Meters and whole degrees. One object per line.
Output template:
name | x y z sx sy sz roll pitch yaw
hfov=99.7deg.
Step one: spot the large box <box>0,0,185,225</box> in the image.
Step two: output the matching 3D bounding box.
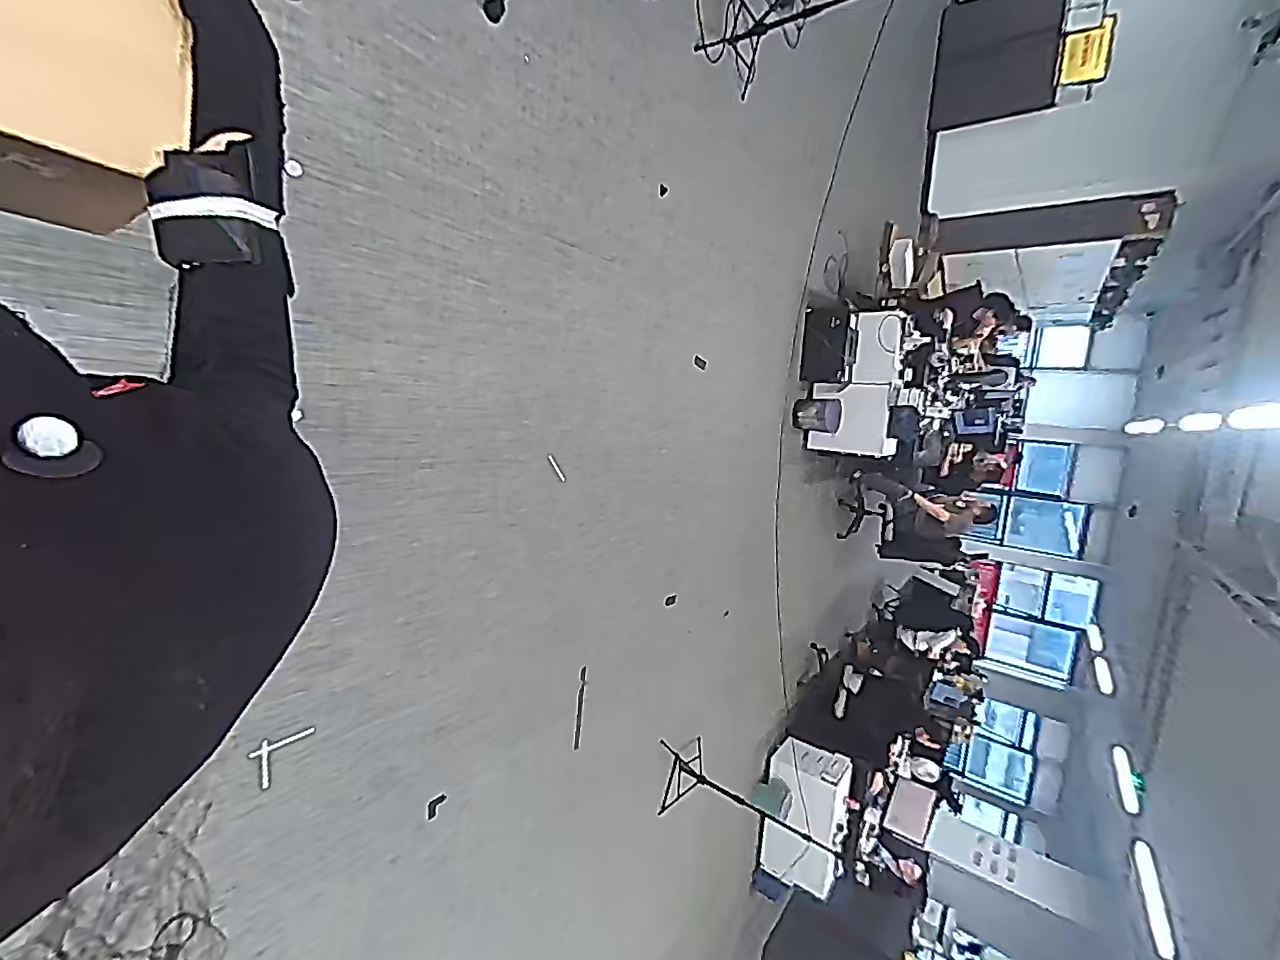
large box | -0.567 -0.396 0.323 0.408 0.320 0.320 1 100 -53
